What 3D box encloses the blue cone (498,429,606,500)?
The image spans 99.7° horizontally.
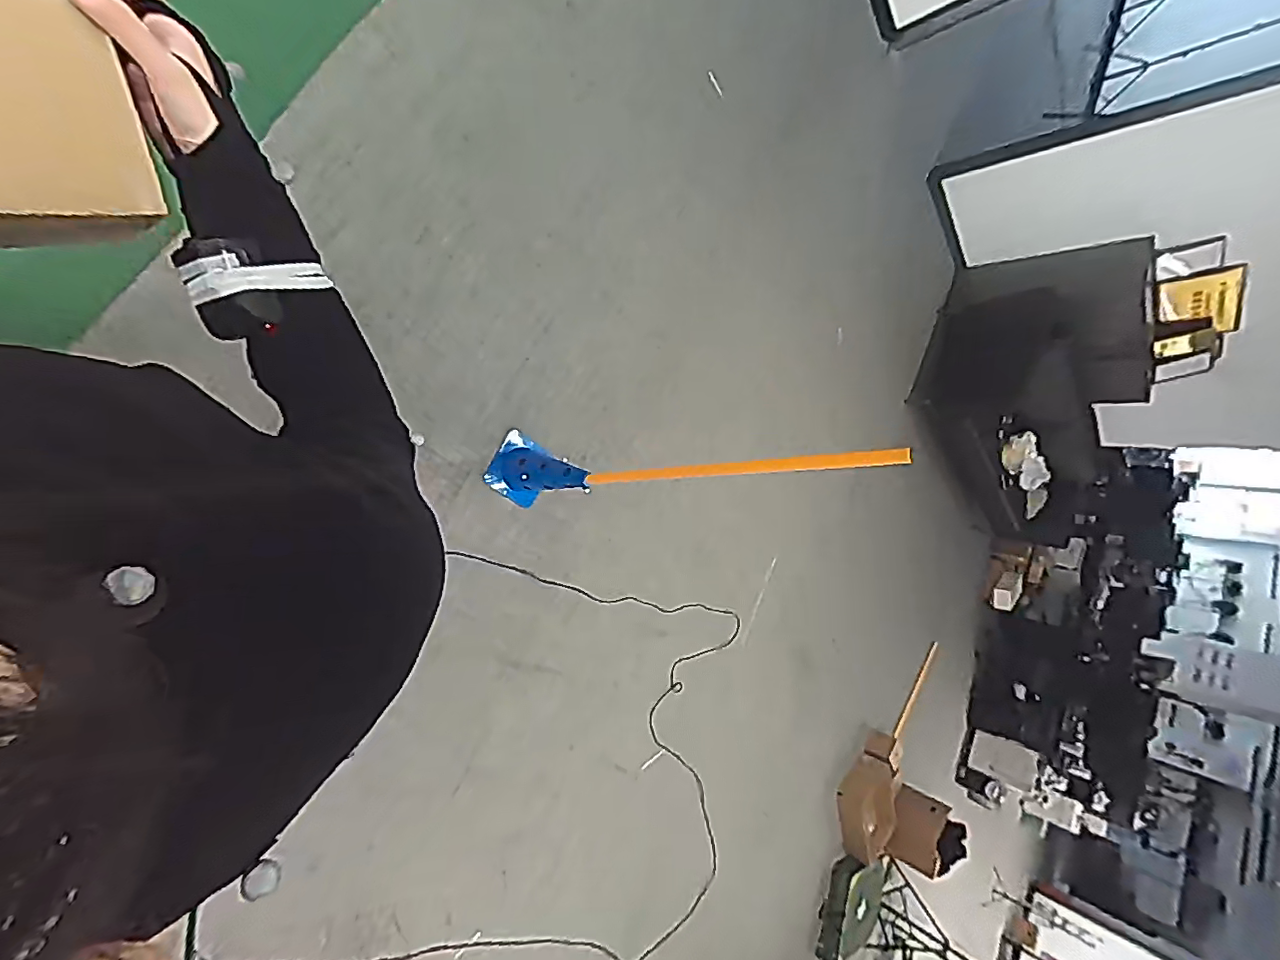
[{"bbox_3d":[-0.240,-0.036,1.606,0.192,0.380,0.193,36,70,-40],"label":"blue cone"}]
